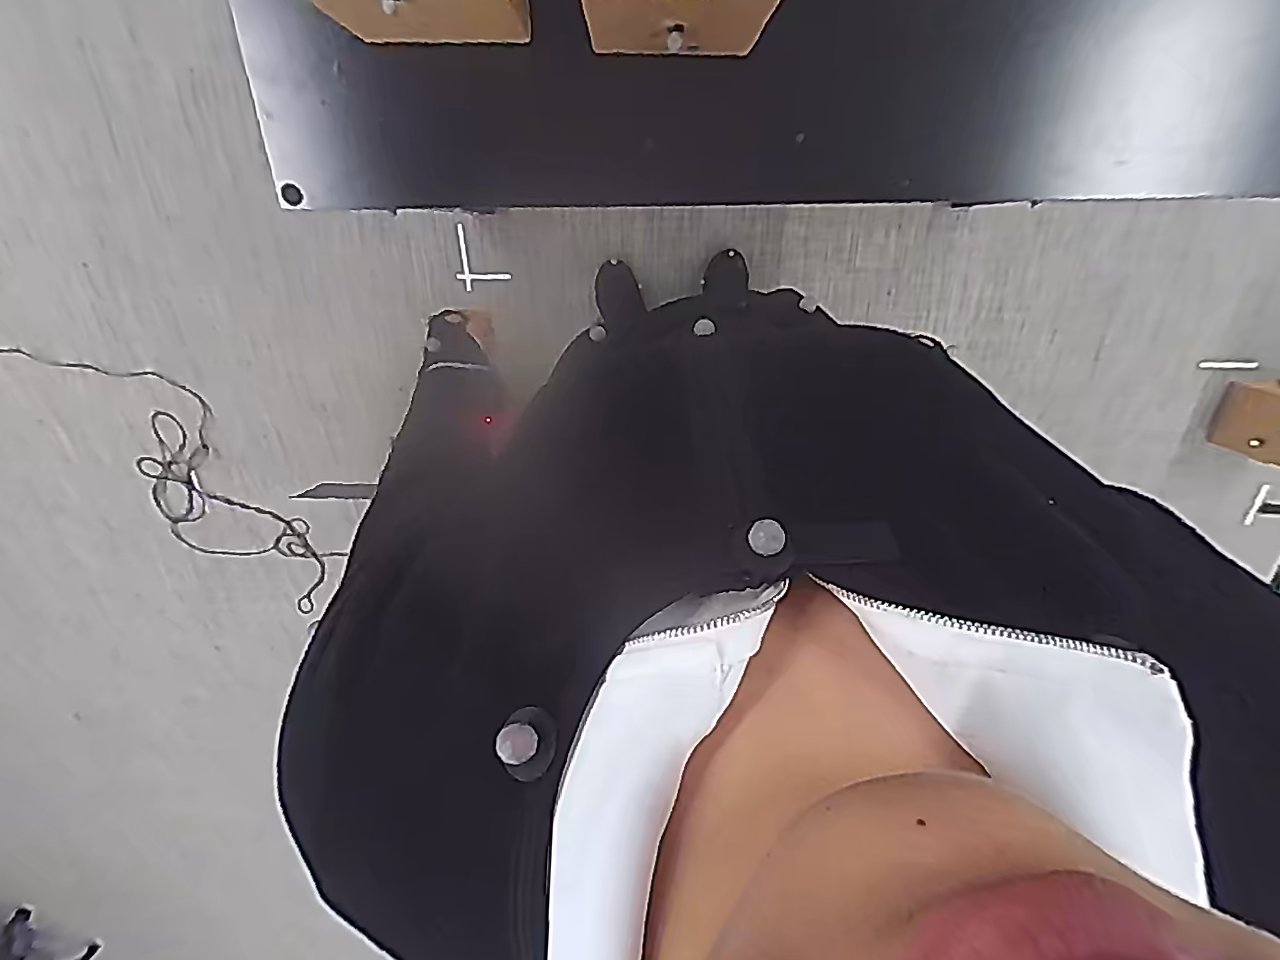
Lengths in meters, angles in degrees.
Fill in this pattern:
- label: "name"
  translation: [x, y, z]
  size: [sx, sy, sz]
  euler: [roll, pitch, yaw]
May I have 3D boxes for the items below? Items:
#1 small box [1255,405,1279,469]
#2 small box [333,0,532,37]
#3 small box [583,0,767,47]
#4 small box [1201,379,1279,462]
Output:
- label: "small box"
  translation: [1.647, -0.093, 1.270]
  size: [0.179, 0.176, 0.168]
  euler: [0, 113, 2]
- label: "small box"
  translation: [-0.198, -0.505, 0.460]
  size: [0.179, 0.176, 0.168]
  euler: [0, 115, -1]
- label: "small box"
  translation: [0.034, -0.499, 0.463]
  size: [0.168, 0.176, 0.179]
  euler: [0, 115, -1]
- label: "small box"
  translation: [1.652, -0.159, 1.419]
  size: [0.168, 0.176, 0.179]
  euler: [-2, 115, 1]
